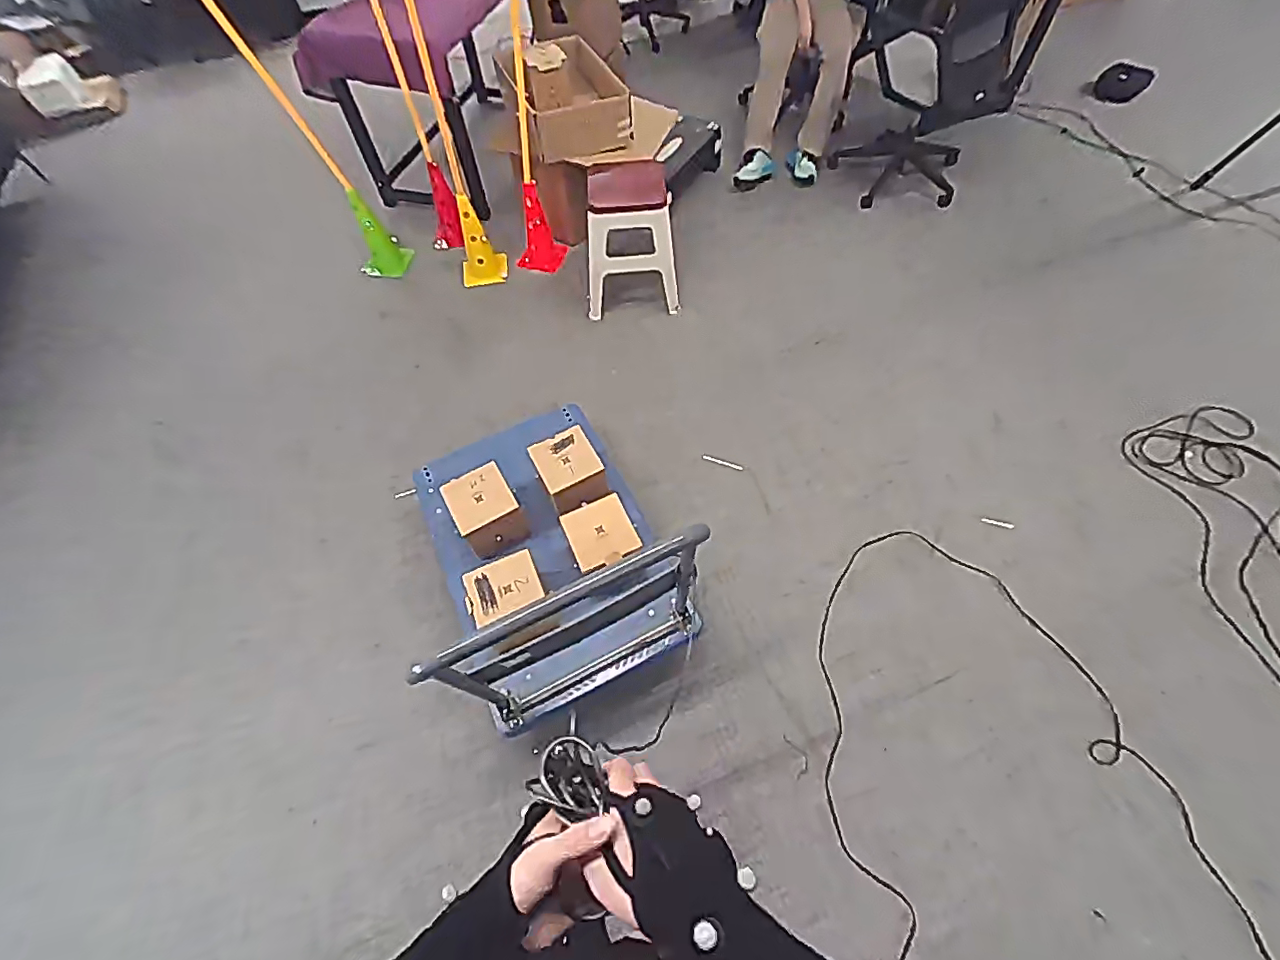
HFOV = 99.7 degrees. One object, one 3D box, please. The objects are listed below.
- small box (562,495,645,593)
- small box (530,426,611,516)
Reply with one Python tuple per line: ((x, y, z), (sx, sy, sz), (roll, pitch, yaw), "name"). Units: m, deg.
((-0.094, 0.174, 1.444), (0.168, 0.176, 0.179), (-23, 61, -10), "small box")
((-0.198, -0.019, 1.564), (0.168, 0.176, 0.179), (-27, 63, -11), "small box")
